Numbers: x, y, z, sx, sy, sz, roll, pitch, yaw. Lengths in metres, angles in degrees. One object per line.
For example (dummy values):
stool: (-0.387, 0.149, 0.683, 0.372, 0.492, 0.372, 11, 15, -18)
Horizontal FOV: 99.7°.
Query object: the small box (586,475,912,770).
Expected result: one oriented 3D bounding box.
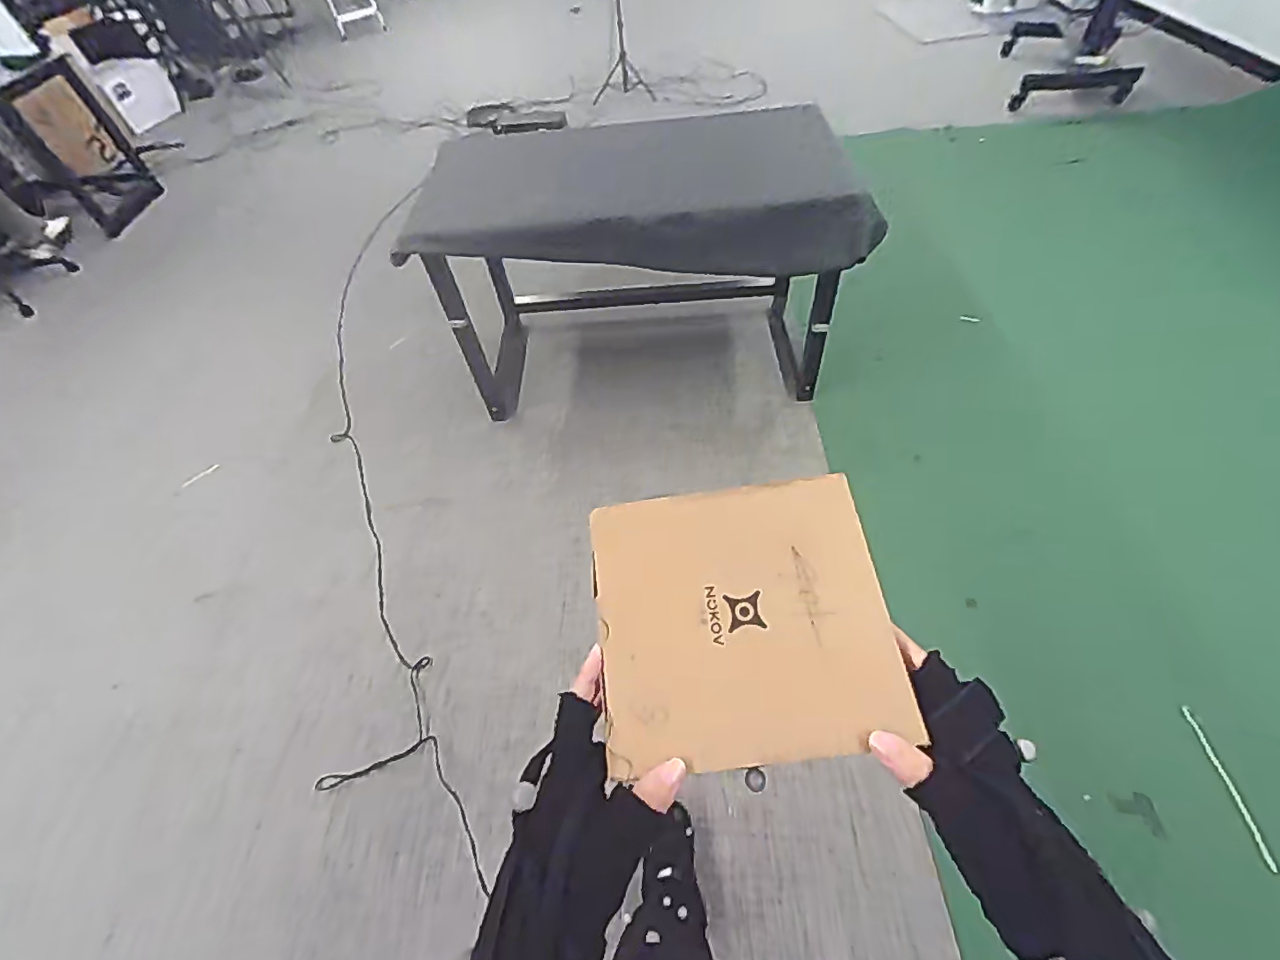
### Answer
small box: (0.064, 0.115, 0.406, 0.179, 0.176, 0.168, -8, 65, 1)
